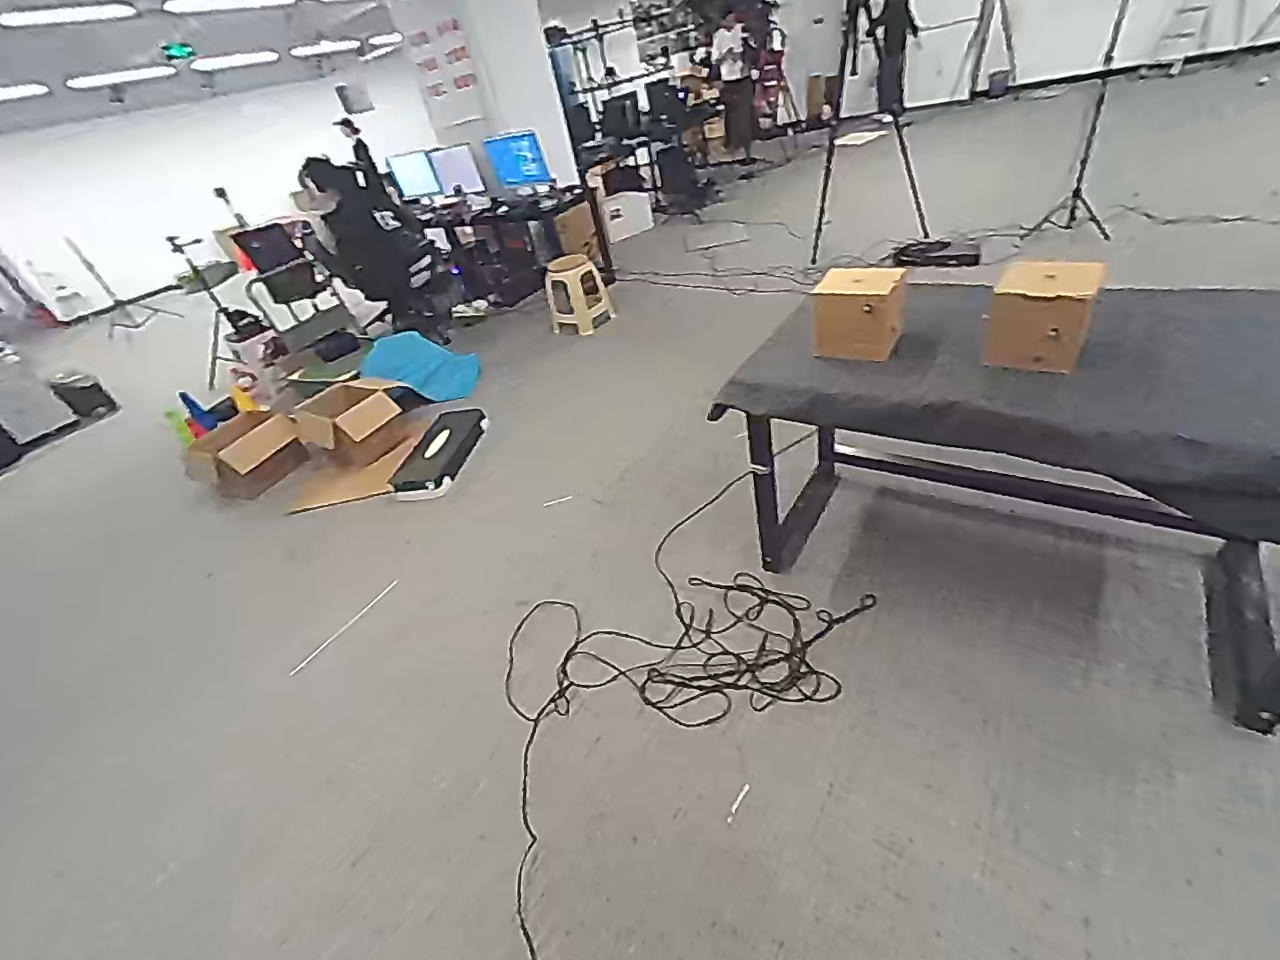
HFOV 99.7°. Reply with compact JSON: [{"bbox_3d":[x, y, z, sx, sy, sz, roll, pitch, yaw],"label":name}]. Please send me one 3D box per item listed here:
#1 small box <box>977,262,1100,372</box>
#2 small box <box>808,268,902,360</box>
[{"bbox_3d":[0.836,-0.347,1.146,0.168,0.176,0.179,19,47,35],"label":"small box"},{"bbox_3d":[0.526,-0.409,1.332,0.179,0.176,0.168,14,45,32],"label":"small box"}]
